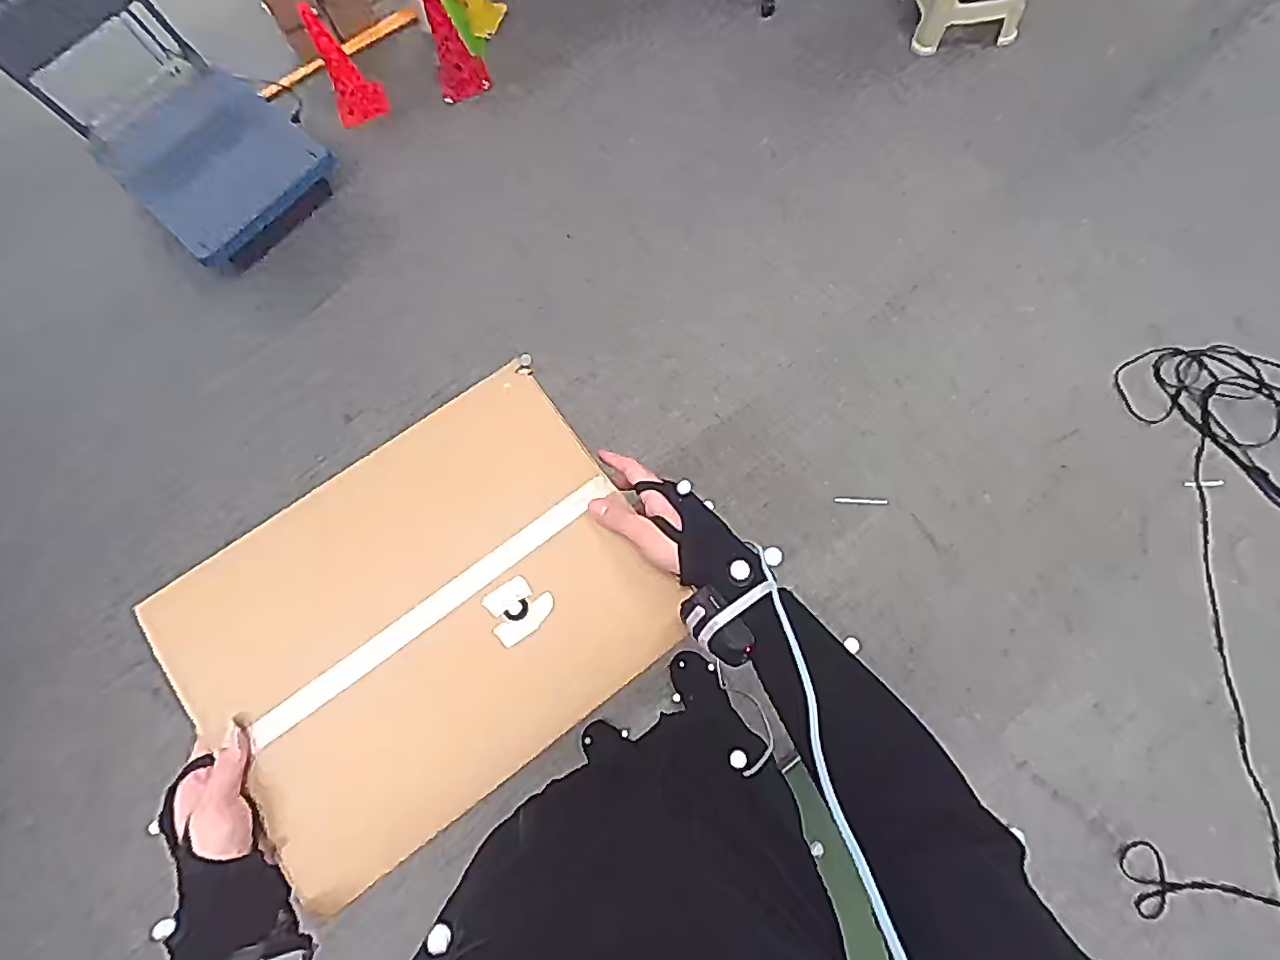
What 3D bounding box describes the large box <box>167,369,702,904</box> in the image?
[{"bbox_3d":[-0.193,0.152,0.644,0.408,0.320,0.320,-36,82,-10],"label":"large box"}]
